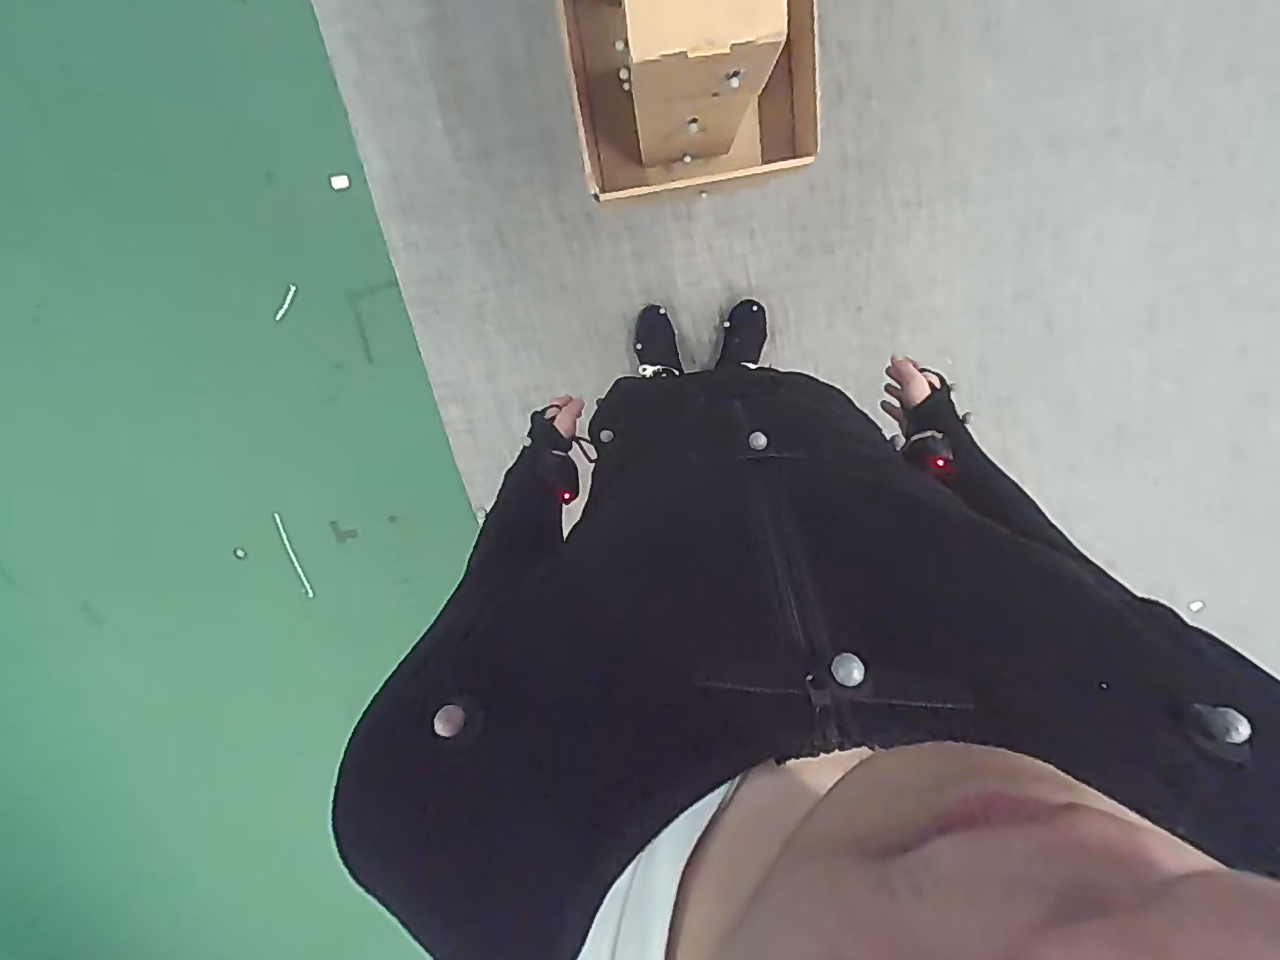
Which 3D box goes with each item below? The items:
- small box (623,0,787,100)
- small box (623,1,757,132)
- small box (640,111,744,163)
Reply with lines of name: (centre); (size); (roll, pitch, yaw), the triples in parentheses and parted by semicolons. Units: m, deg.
small box: (0.066, -0.551, 0.603); (0.168, 0.176, 0.179); (-5, 109, 4)
small box: (0.068, -0.609, 0.756); (0.168, 0.176, 0.179); (-7, 109, 5)
small box: (0.077, -0.663, 0.910); (0.168, 0.176, 0.179); (-7, 108, 6)
